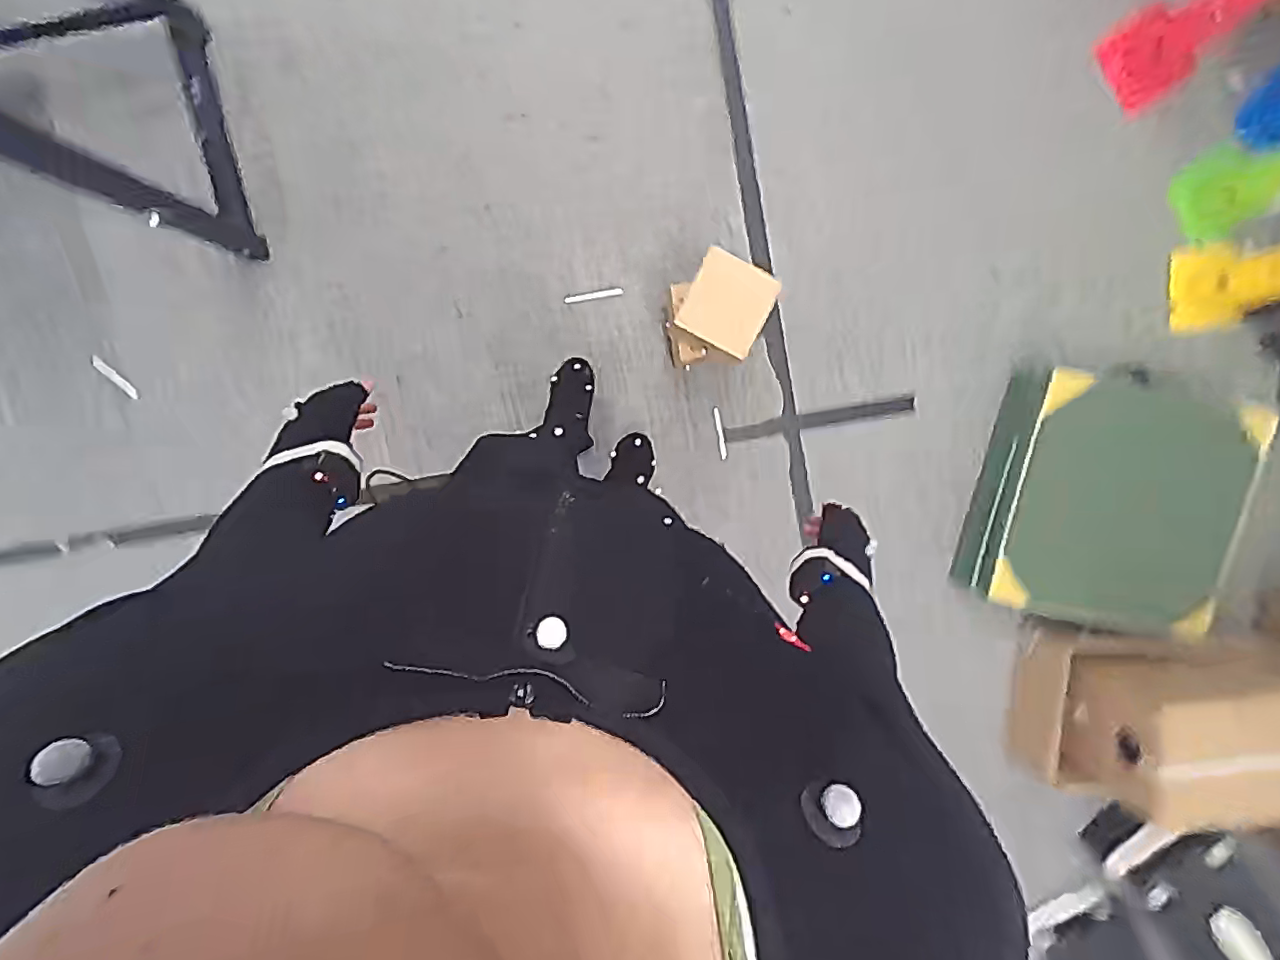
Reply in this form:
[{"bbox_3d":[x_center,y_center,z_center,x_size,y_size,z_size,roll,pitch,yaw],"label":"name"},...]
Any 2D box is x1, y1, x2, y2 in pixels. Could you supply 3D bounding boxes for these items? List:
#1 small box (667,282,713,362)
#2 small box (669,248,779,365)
[{"bbox_3d":[0.162,-0.394,1.356,0.168,0.176,0.179,-8,97,-1],"label":"small box"},{"bbox_3d":[0.179,-0.374,1.190,0.168,0.176,0.179,26,95,-5],"label":"small box"}]
